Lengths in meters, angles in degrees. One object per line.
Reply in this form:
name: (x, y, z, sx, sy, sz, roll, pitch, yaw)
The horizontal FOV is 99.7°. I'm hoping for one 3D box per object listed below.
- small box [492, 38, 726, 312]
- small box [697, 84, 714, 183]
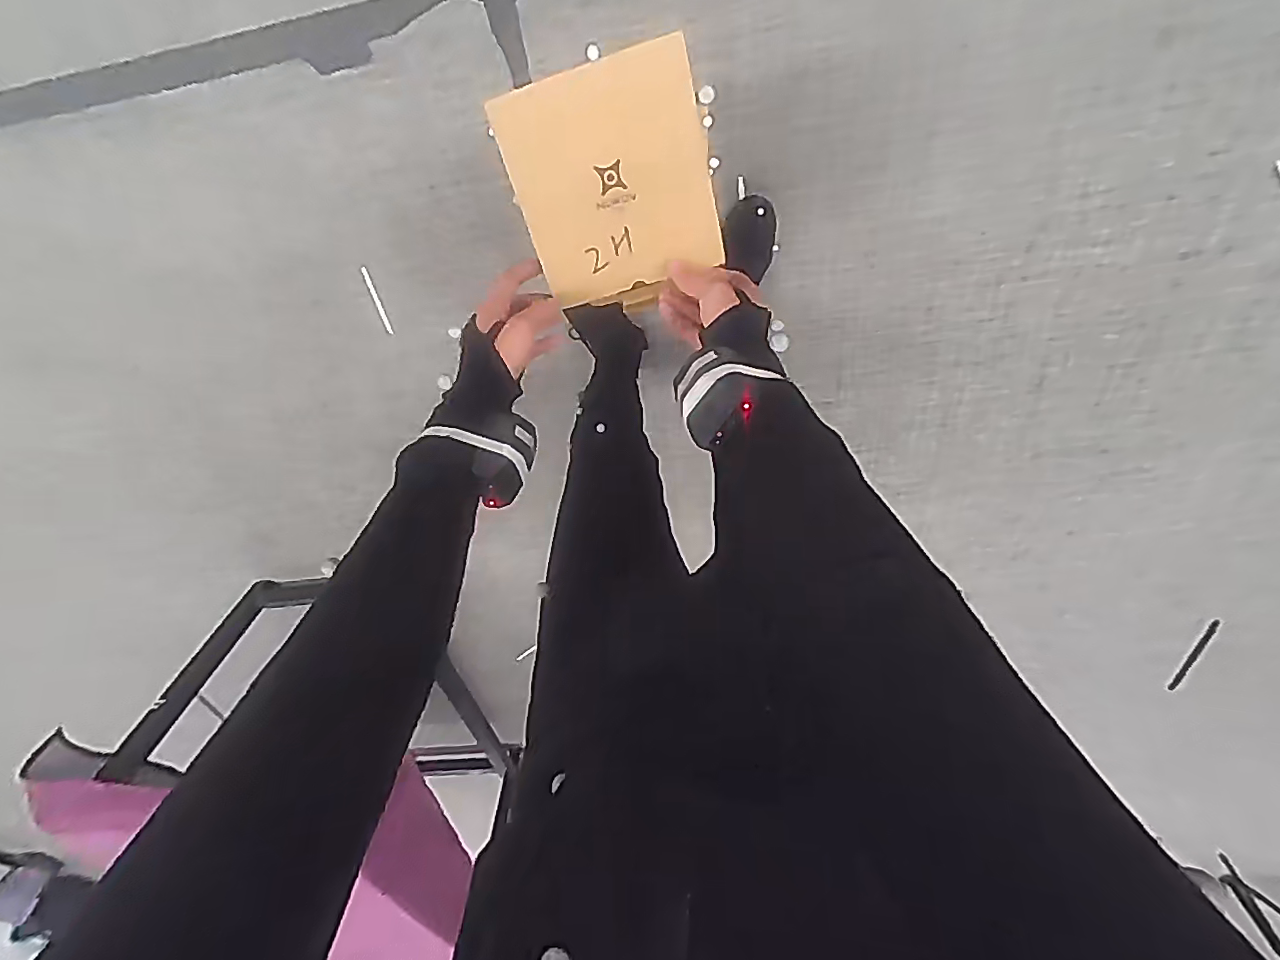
small box: (-0.018, -0.292, 0.528, 0.168, 0.176, 0.179, -11, 125, 12)
small box: (0.020, -0.472, 0.802, 0.168, 0.176, 0.179, -3, 127, 5)
